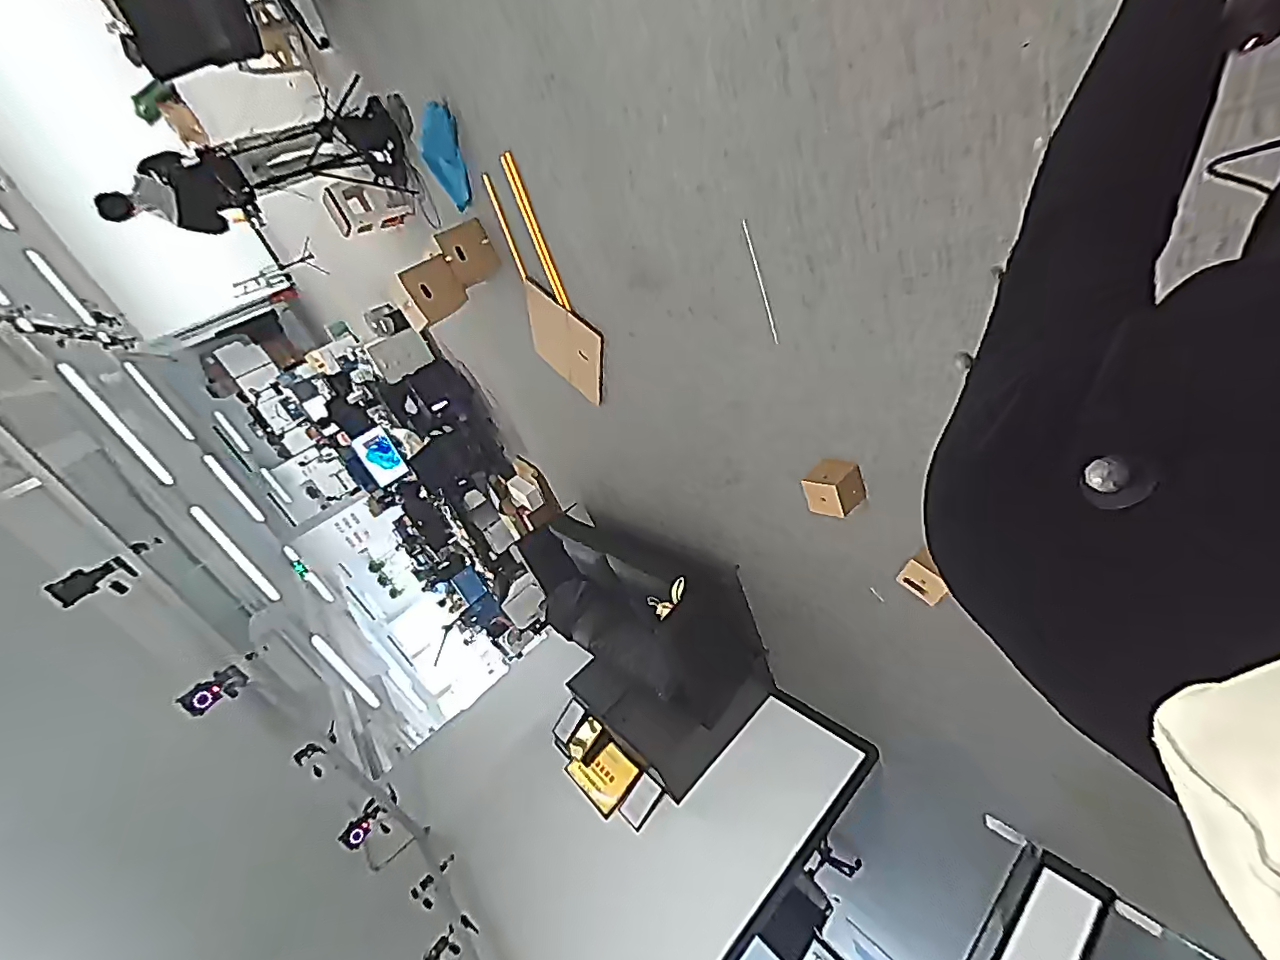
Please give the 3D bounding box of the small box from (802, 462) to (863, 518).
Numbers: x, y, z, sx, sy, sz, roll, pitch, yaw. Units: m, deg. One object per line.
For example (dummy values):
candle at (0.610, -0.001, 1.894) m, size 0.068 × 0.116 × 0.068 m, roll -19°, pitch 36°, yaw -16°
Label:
small box at (0.820, 0.036, 2.282) m, size 0.179 × 0.176 × 0.168 m, roll 13°, pitch 133°, yaw 54°
